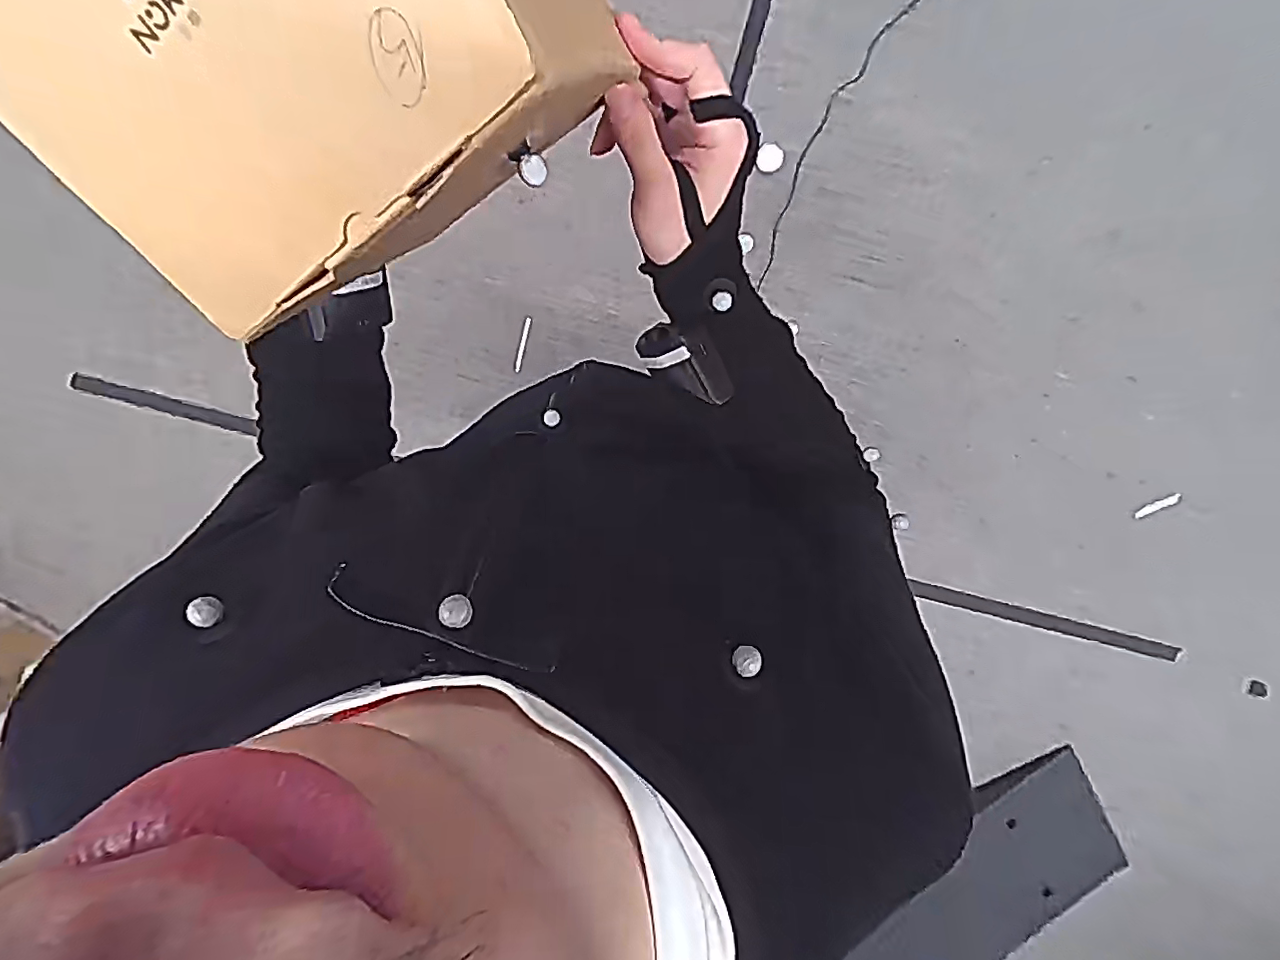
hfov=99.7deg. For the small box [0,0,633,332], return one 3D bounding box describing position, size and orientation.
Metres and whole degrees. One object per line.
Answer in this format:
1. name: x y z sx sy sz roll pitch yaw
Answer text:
1. small box: -0.121 -0.198 0.220 0.168 0.176 0.179 -23 119 25
